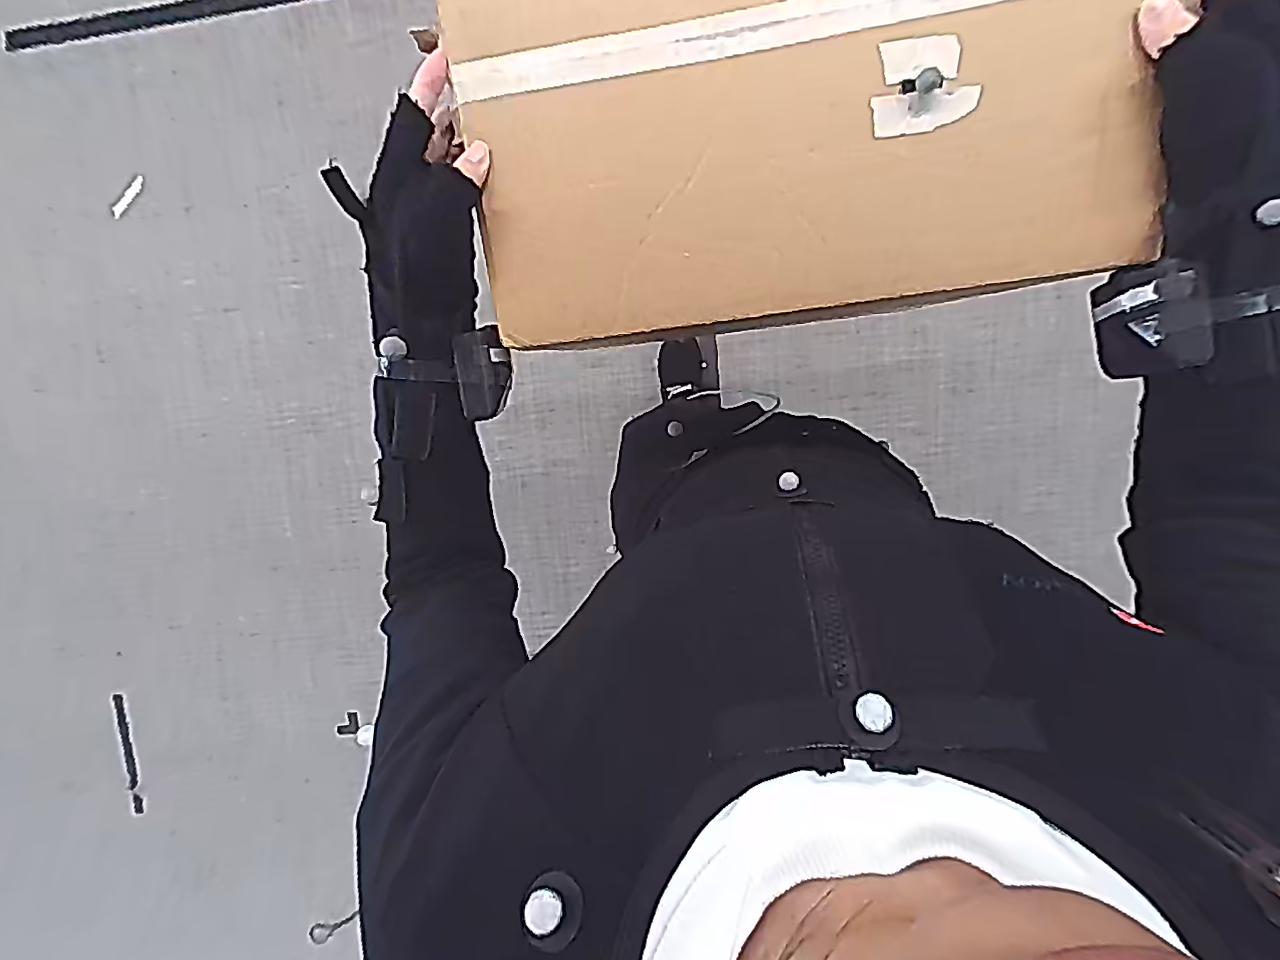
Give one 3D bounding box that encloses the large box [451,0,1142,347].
[{"bbox_3d":[0.093,-0.302,0.466,0.408,0.320,0.320,-7,103,4],"label":"large box"}]
